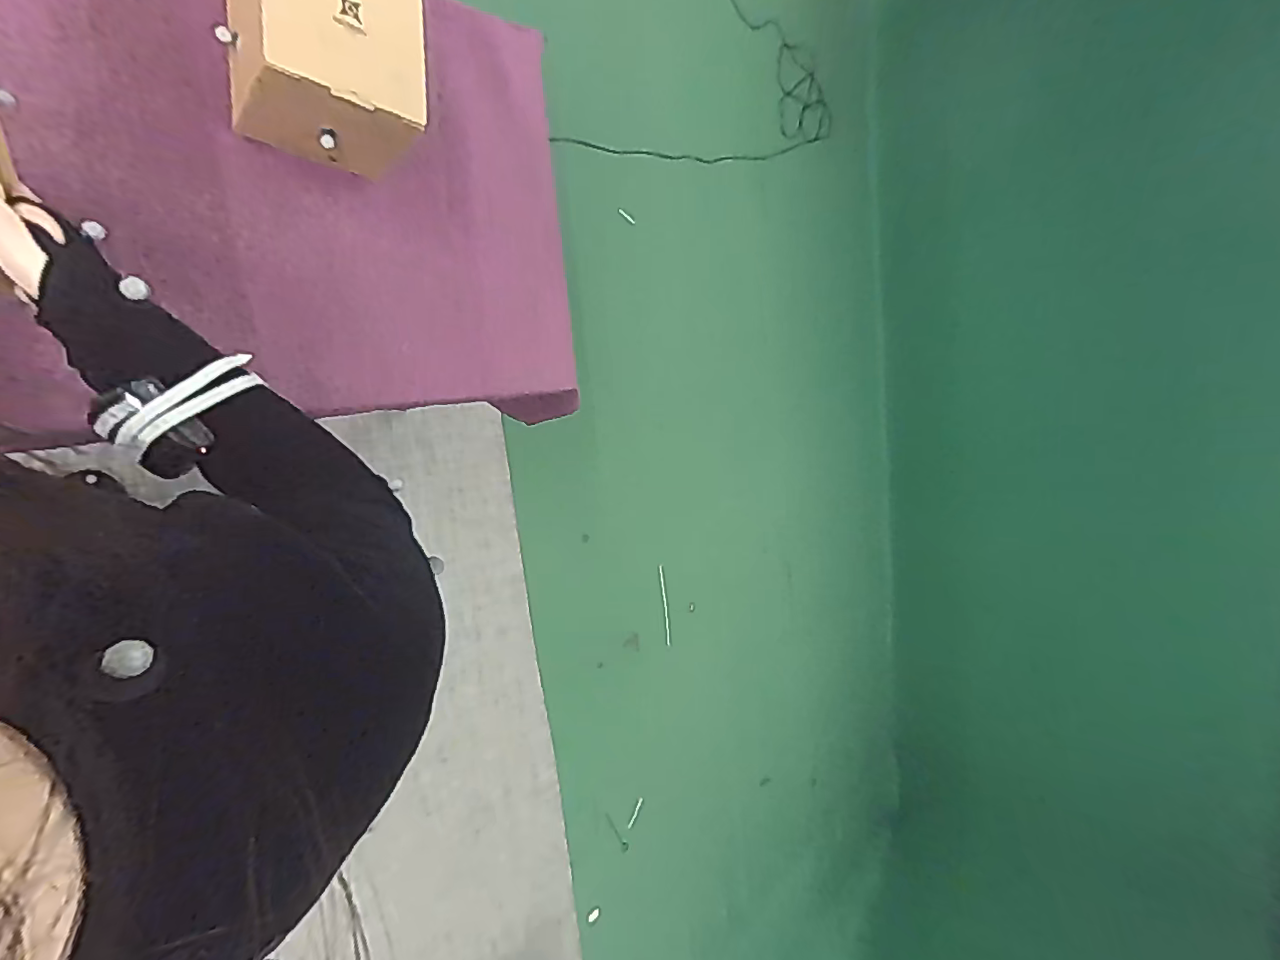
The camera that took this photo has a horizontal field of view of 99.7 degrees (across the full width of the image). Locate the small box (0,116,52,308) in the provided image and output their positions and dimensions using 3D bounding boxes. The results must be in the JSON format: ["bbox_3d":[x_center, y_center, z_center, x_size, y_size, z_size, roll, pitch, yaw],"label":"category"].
[{"bbox_3d":[-0.539,-0.219,0.357,0.168,0.176,0.179,-16,104,-39],"label":"small box"}]

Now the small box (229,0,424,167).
[{"bbox_3d":[-0.370,-0.508,0.640,0.168,0.176,0.179,-4,95,-45],"label":"small box"}]
